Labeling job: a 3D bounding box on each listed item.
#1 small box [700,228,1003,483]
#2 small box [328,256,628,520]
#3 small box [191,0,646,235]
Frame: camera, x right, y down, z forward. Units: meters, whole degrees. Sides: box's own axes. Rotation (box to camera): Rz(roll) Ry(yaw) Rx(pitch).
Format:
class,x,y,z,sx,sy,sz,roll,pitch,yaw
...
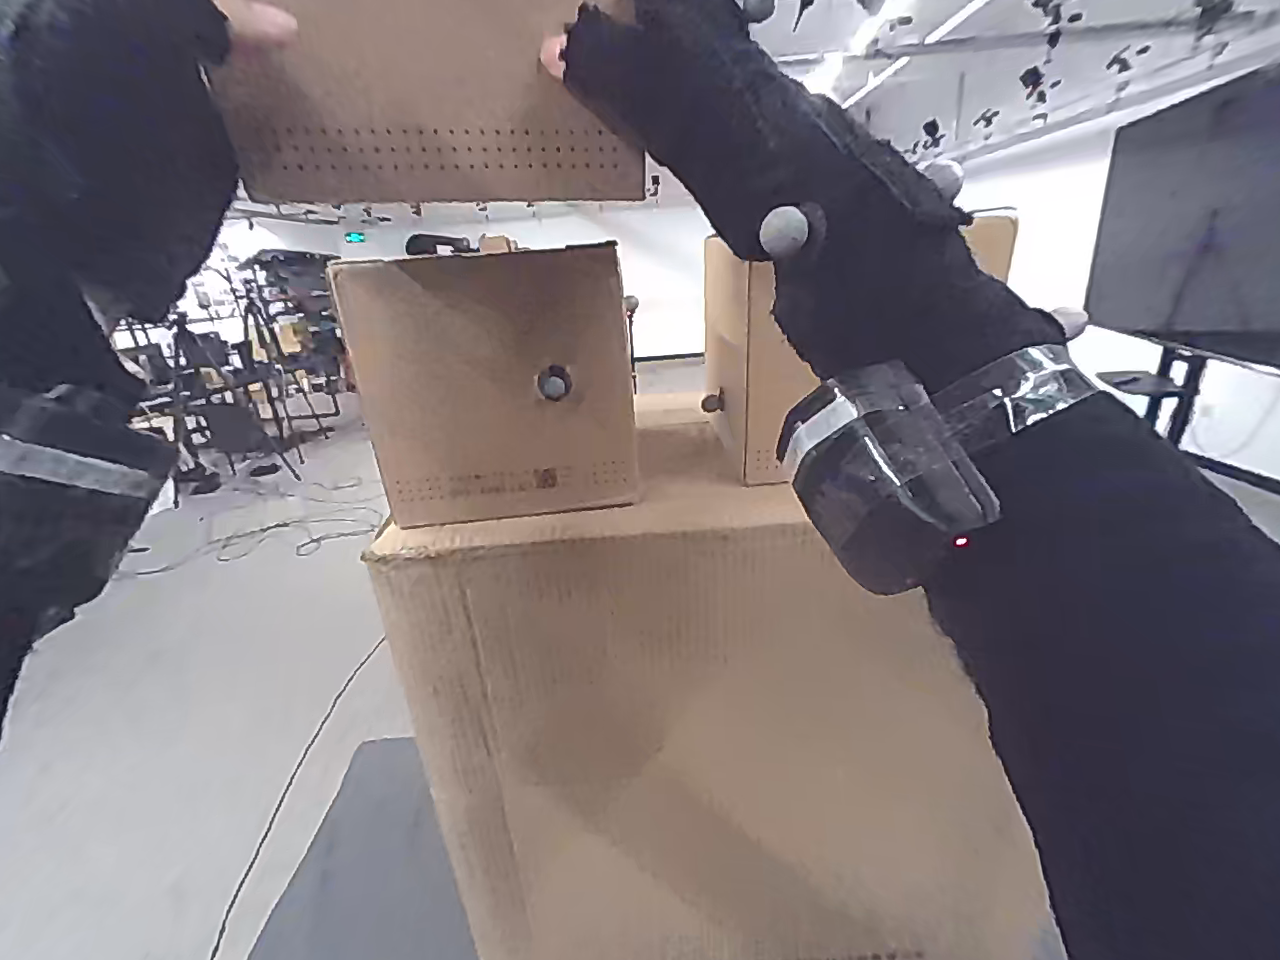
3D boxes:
class,x,y,z,sx,sy,sz,roll,pitch,yaw
small box,0.143,-0.102,0.434,0.168,0.176,0.179,-4,24,-1
small box,-0.100,-0.076,0.416,0.168,0.176,0.179,-4,22,-4
small box,-0.096,-0.228,0.273,0.179,0.176,0.168,-5,33,-12
